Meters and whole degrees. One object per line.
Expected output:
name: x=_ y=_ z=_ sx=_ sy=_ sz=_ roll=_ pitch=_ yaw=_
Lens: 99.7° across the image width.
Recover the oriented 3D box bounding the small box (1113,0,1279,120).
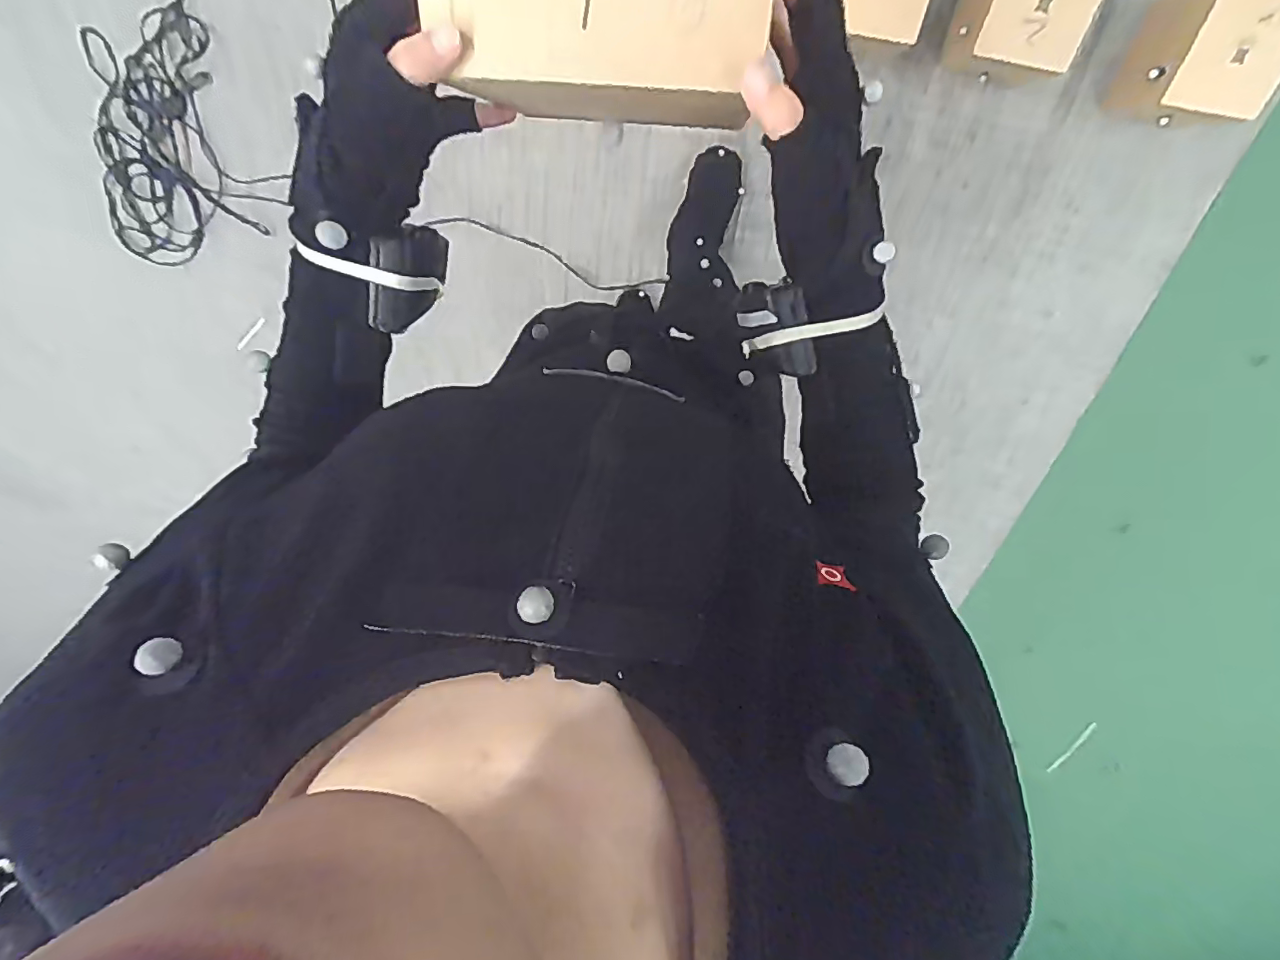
small box: x=0.986 y=-0.741 z=0.939 sx=0.168 sy=0.176 sz=0.179 roll=11 pitch=122 yaw=0

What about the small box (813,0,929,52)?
small box: x=0.410 y=-0.869 z=0.935 sx=0.168 sy=0.176 sz=0.179 roll=11 pitch=121 yaw=1
